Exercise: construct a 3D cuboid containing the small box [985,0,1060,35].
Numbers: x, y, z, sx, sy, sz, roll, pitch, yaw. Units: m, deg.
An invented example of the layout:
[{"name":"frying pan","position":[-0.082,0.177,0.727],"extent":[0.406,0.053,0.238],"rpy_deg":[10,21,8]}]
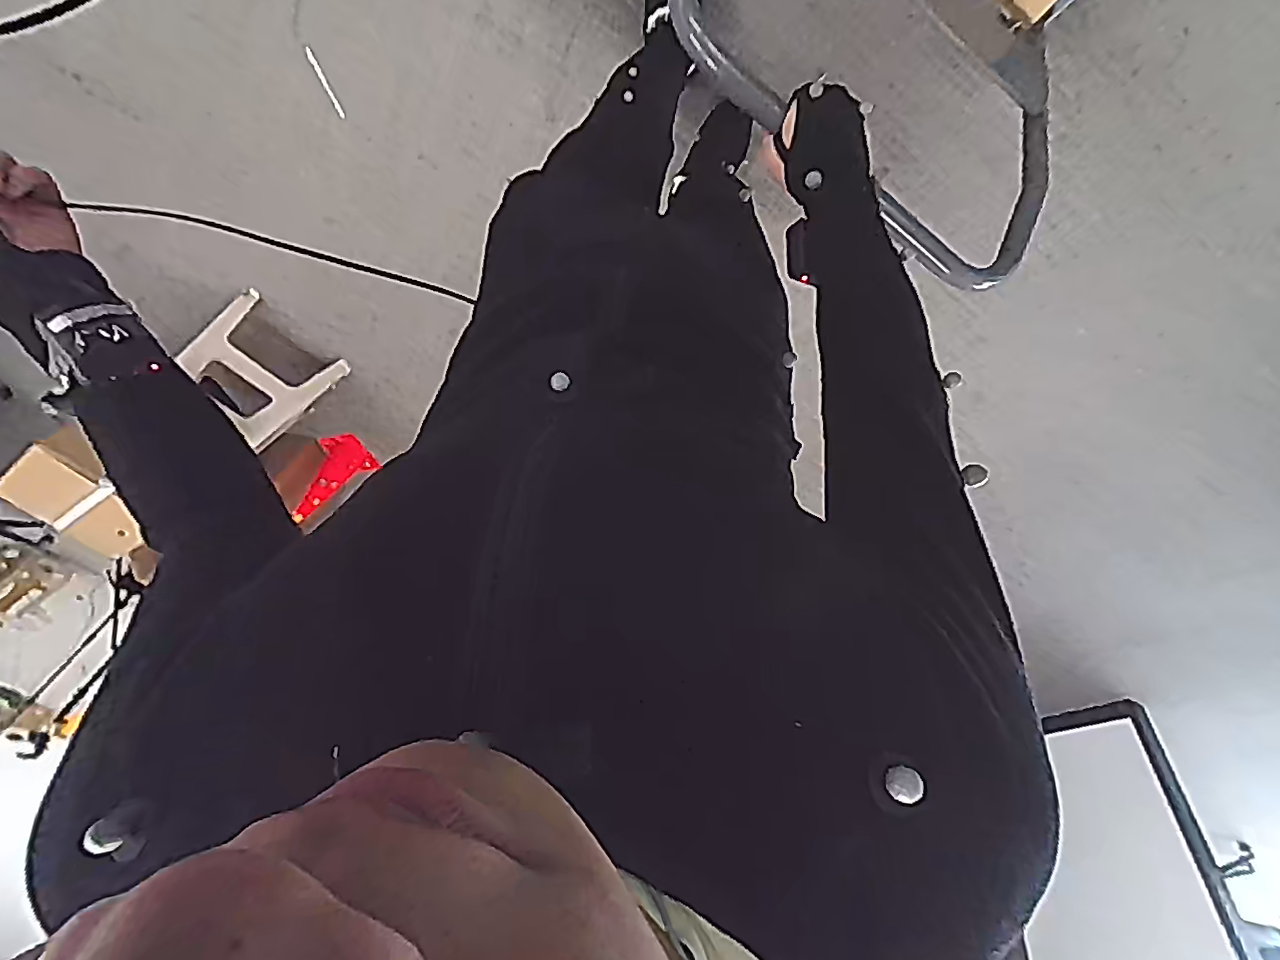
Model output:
[{"name":"small box","position":[0.558,-0.794,0.759],"extent":[0.179,0.176,0.168],"rpy_deg":[27,151,-14]}]
